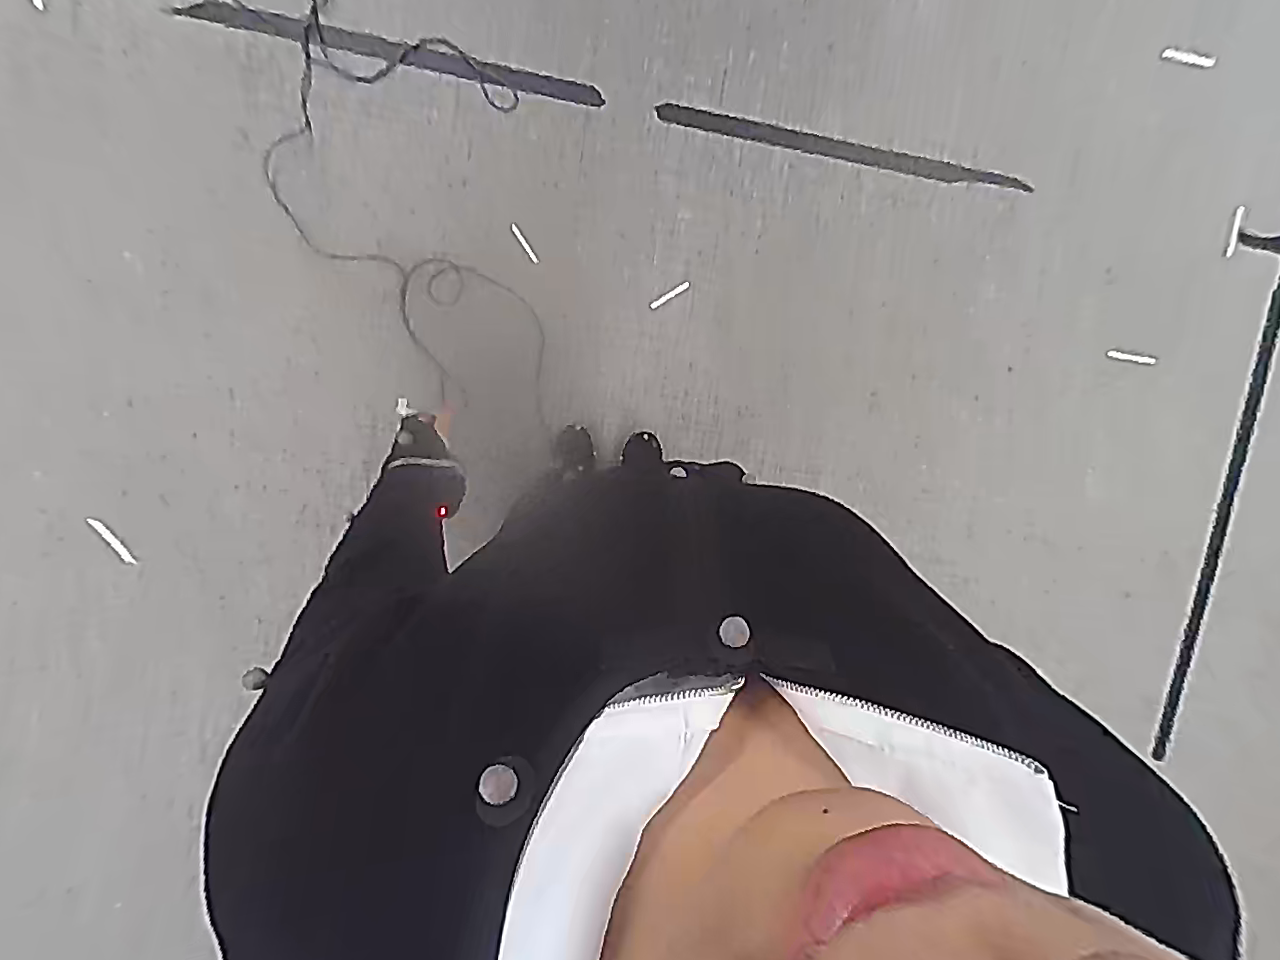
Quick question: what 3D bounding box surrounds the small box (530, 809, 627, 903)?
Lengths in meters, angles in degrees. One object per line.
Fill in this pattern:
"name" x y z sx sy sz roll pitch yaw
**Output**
"small box" -0.121 0.752 1.001 0.168 0.176 0.179 7 94 -7
